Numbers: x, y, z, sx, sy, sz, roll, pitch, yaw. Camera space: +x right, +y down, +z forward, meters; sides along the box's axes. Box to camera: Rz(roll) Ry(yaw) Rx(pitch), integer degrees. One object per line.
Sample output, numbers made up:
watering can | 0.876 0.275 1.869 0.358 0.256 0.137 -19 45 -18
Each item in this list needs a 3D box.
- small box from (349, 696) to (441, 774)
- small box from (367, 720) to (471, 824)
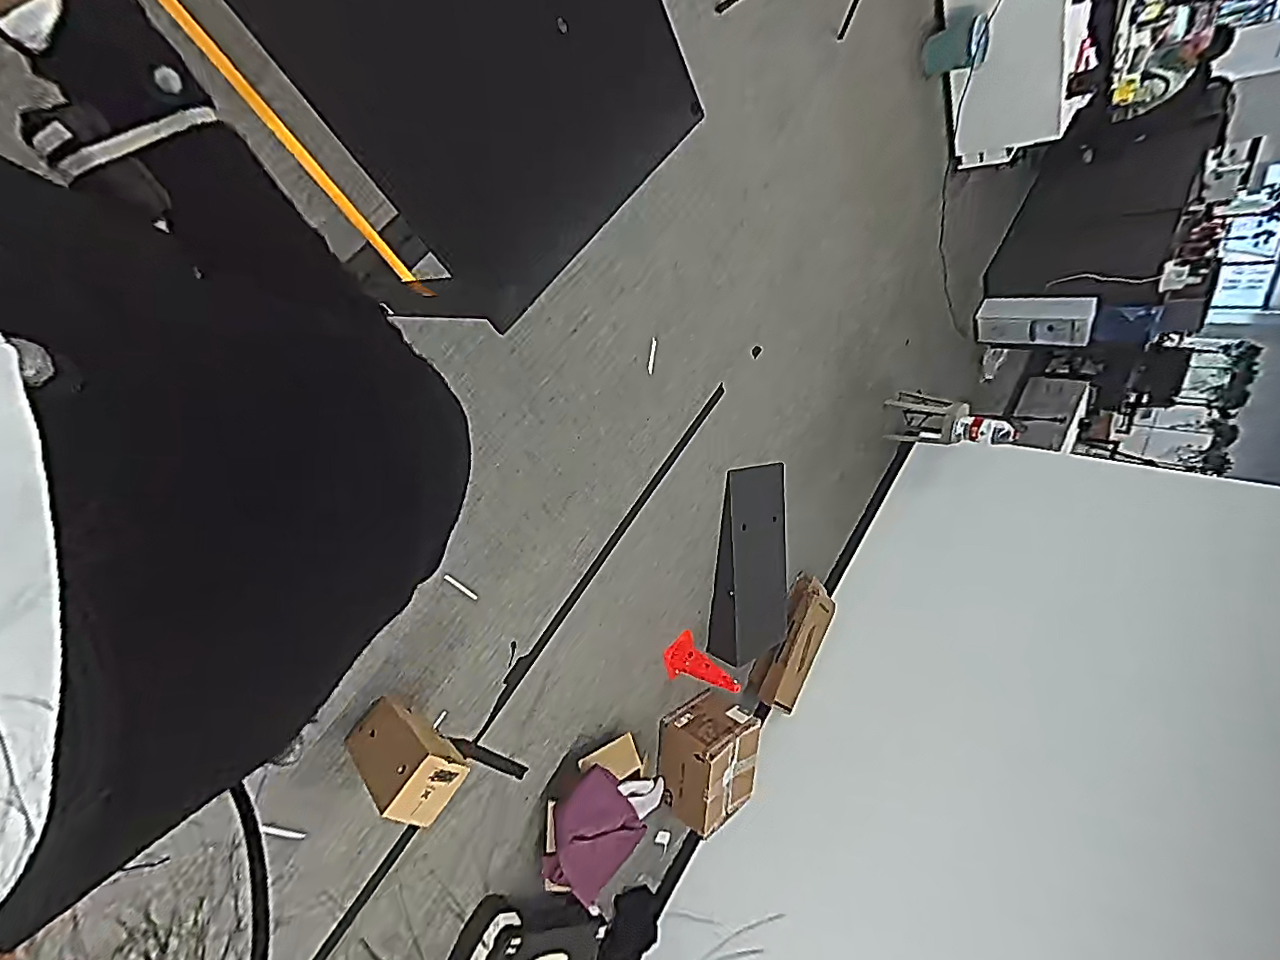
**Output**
small box | -0.722 0.771 1.602 0.168 0.176 0.179 -52 132 -19
small box | -0.610 0.792 1.480 0.179 0.176 0.168 -54 133 -17
